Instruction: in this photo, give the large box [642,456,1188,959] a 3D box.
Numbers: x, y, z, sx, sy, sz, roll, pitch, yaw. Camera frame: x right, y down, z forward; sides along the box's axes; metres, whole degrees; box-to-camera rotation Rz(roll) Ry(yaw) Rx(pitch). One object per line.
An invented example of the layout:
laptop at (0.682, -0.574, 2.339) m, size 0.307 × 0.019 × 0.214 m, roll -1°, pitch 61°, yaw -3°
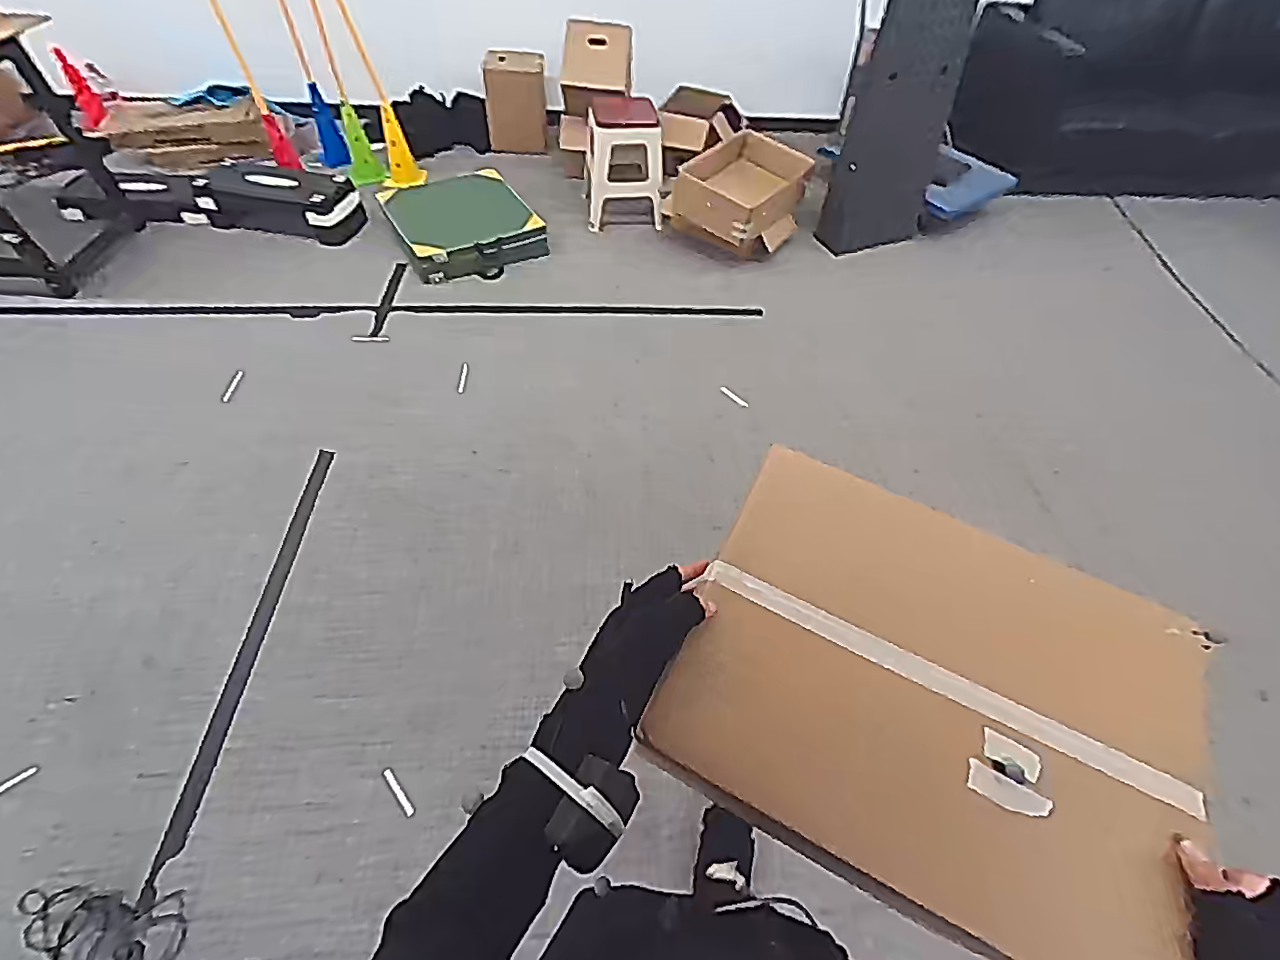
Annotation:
large box at (0.247, 0.240, 0.598) m, size 0.408 × 0.320 × 0.320 m, roll 25°, pitch 65°, yaw 12°
